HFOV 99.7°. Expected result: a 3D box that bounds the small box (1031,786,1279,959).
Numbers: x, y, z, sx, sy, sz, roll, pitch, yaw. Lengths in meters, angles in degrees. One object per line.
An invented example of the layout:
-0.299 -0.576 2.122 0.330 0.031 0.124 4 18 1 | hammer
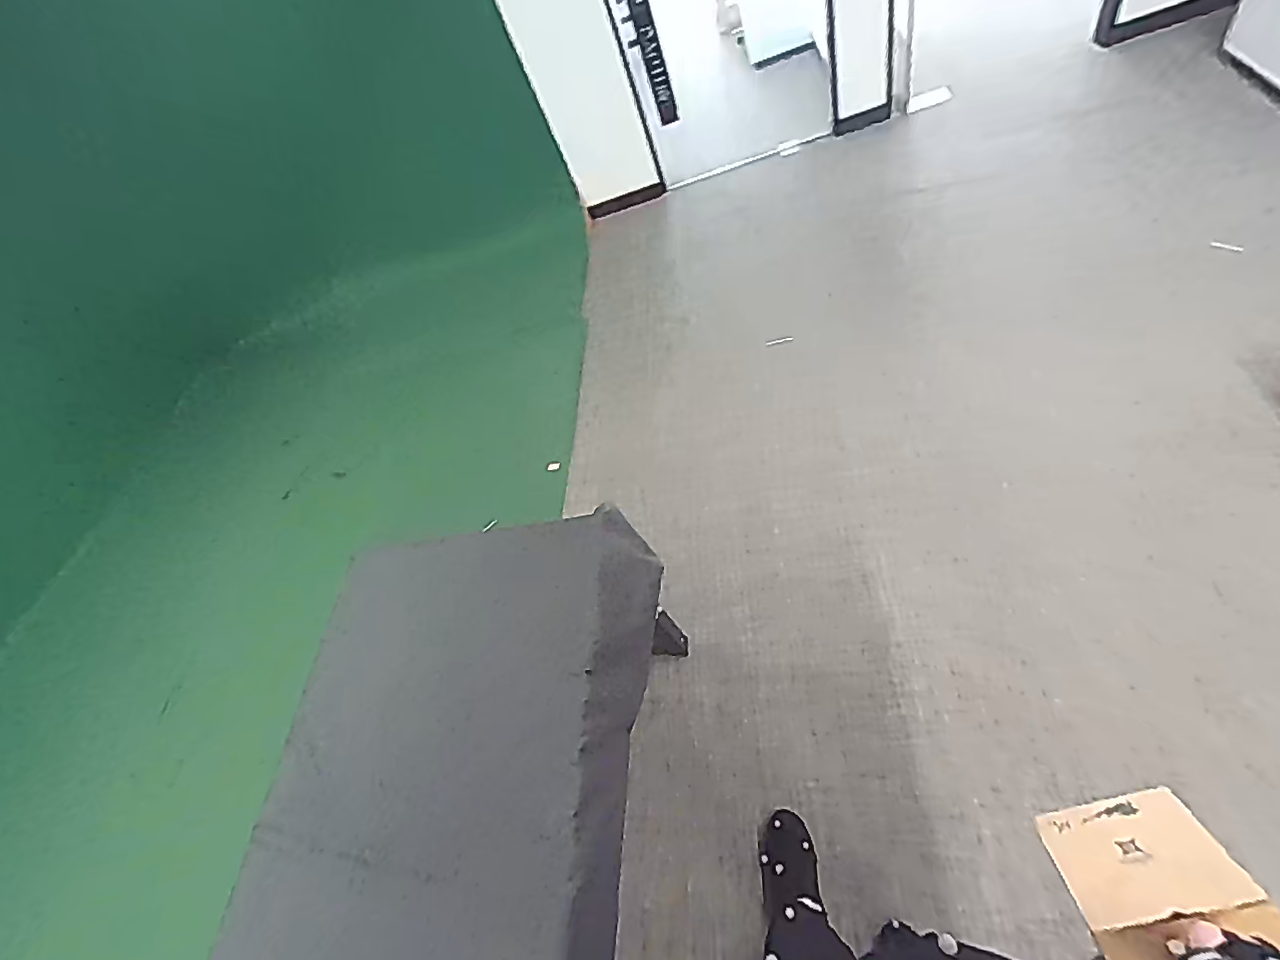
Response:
0.618 0.512 0.633 0.168 0.179 0.176 -30 87 17 | small box
